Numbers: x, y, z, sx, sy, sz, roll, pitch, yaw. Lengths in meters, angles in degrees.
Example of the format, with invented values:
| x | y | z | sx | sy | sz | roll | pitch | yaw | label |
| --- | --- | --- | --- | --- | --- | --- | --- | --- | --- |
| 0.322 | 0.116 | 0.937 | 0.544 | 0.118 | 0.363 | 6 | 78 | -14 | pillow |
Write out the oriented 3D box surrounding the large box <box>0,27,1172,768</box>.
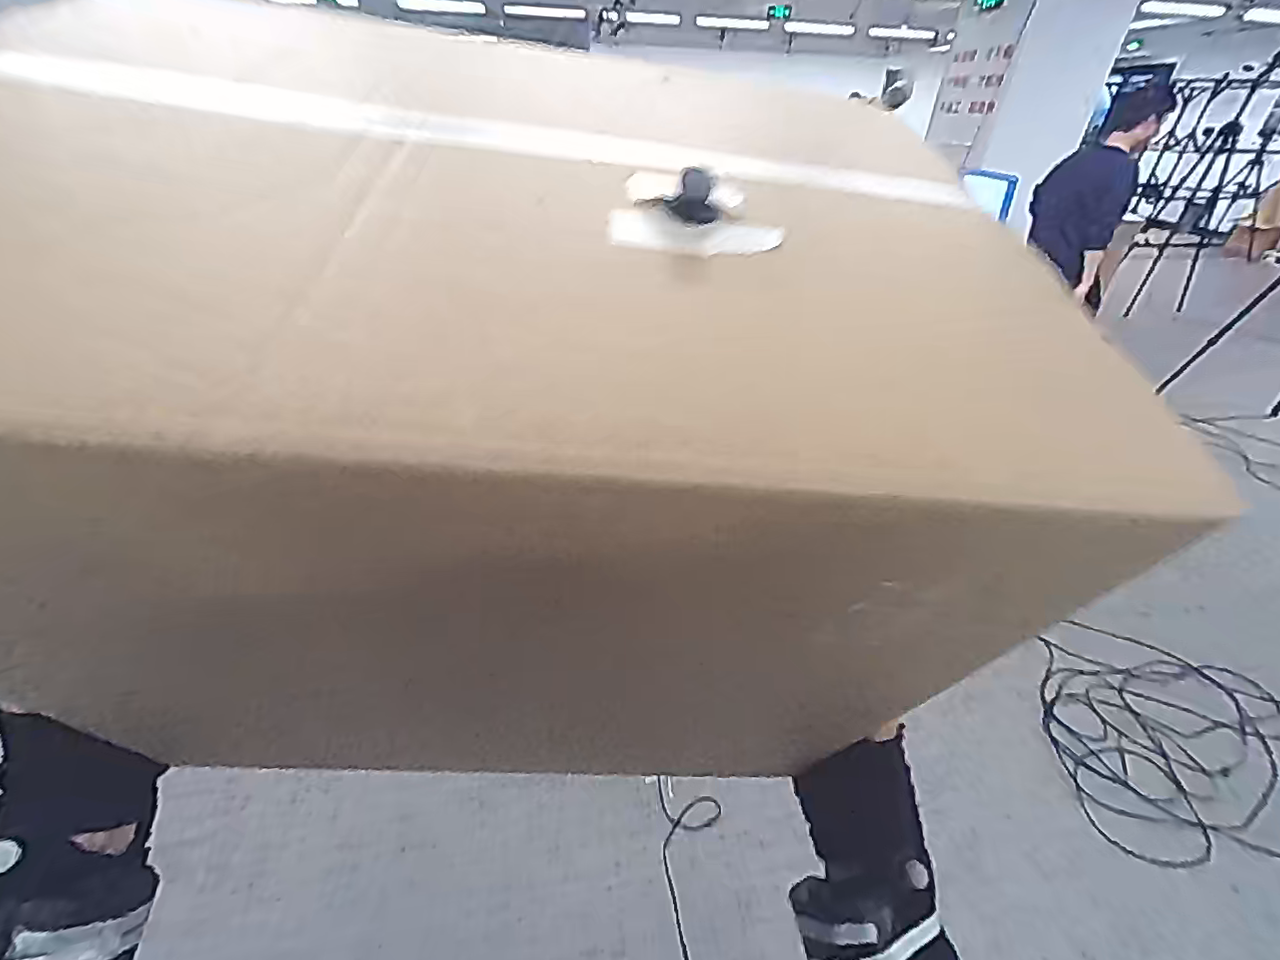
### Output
| x | y | z | sx | sy | sz | roll | pitch | yaw | label |
| --- | --- | --- | --- | --- | --- | --- | --- | --- | --- |
| -0.063 | -0.025 | 0.341 | 0.408 | 0.320 | 0.320 | 4 | 51 | -8 | large box |
